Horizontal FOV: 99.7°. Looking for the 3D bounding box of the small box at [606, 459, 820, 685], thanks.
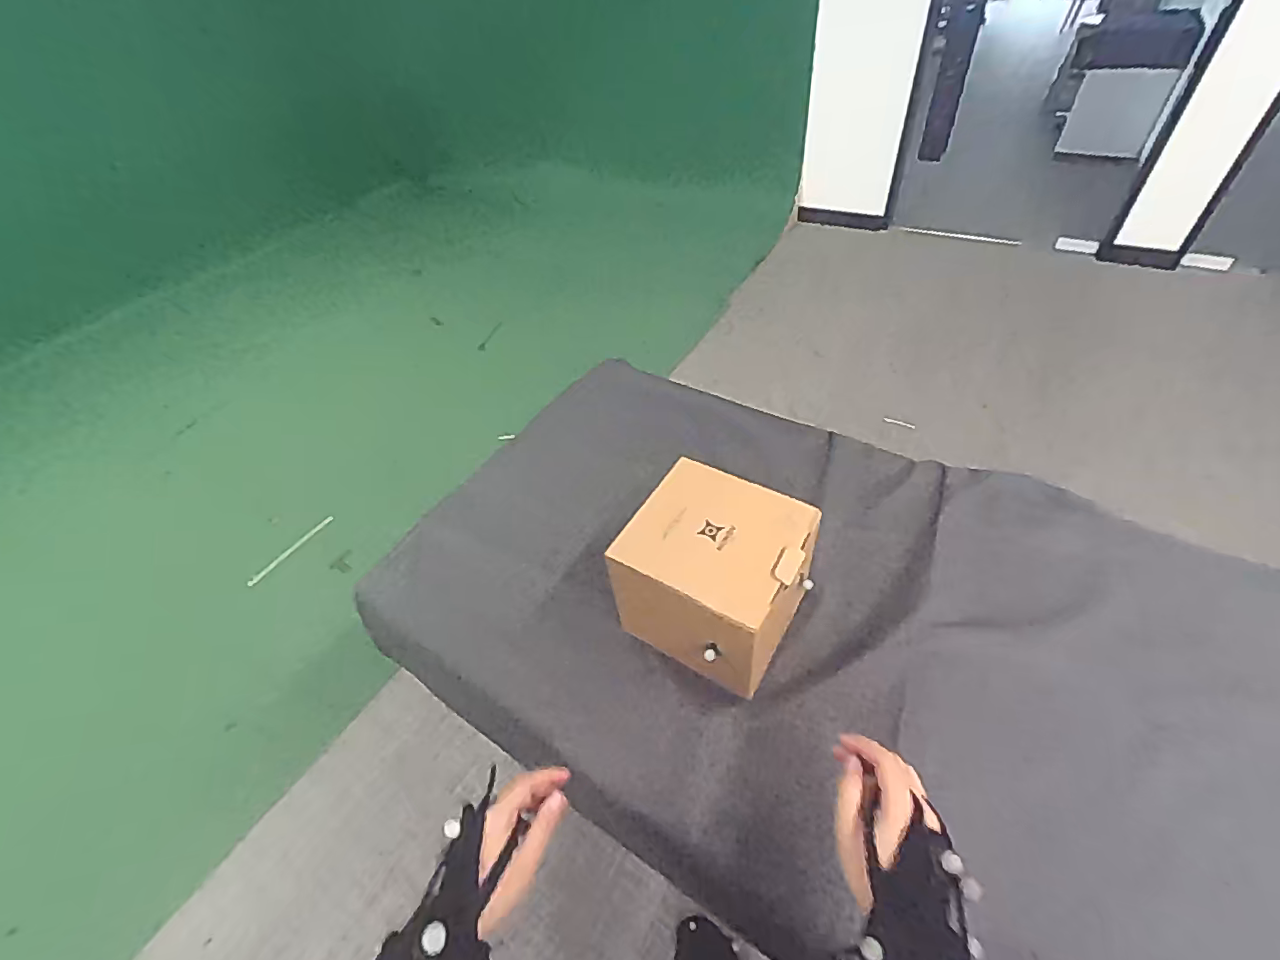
[{"bbox_3d":[0.086,0.110,0.630,0.179,0.176,0.168,21,52,26],"label":"small box"}]
